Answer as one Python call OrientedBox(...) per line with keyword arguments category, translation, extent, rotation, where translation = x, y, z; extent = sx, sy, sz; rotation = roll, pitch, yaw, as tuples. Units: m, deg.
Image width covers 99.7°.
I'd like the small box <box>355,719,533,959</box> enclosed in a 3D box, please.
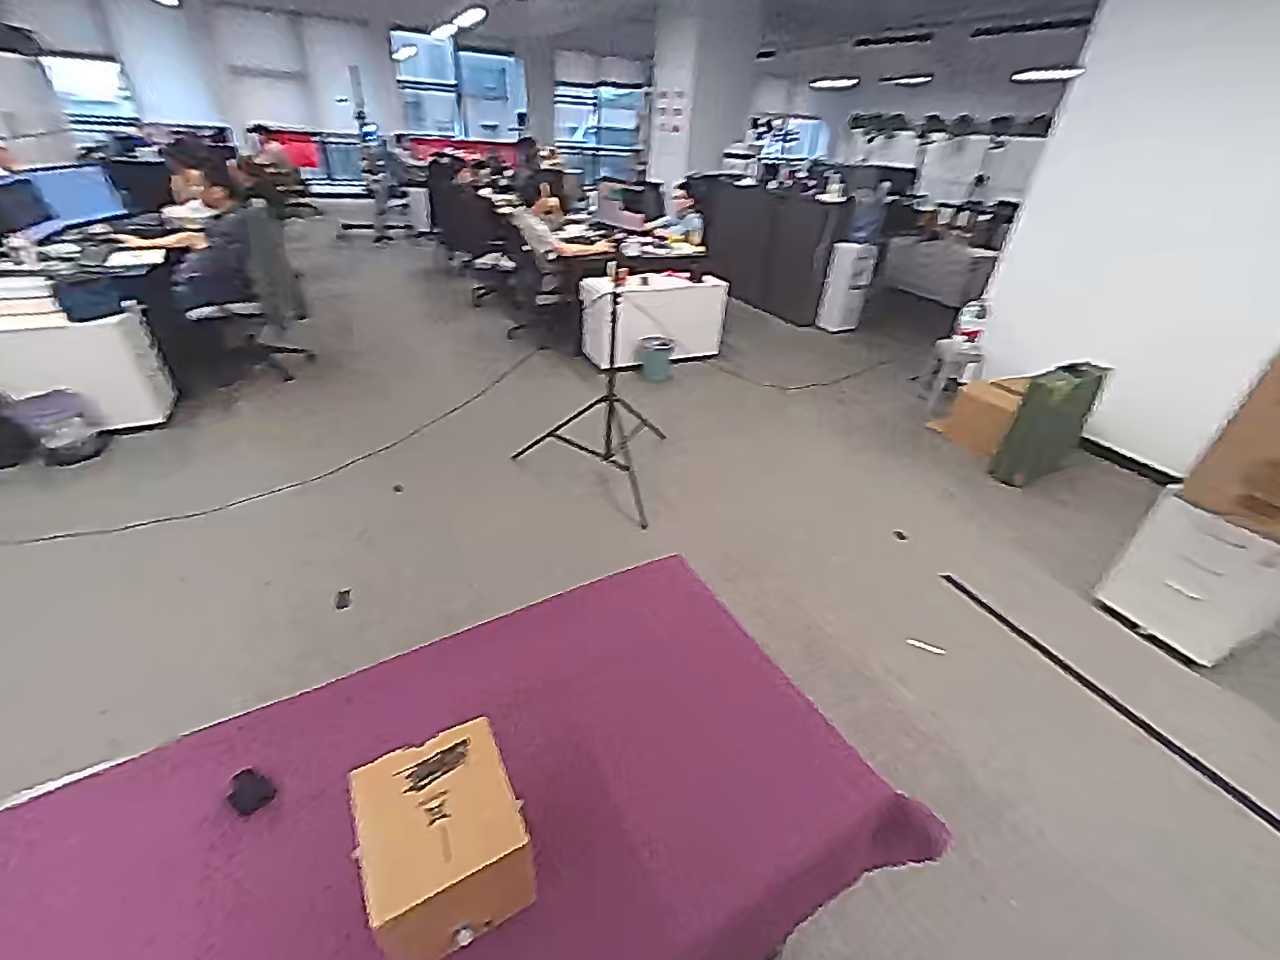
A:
OrientedBox(category="small box", translation=(-0.240, 0.446, 0.671), extent=(0.168, 0.176, 0.179), rotation=(-15, 38, -27))
